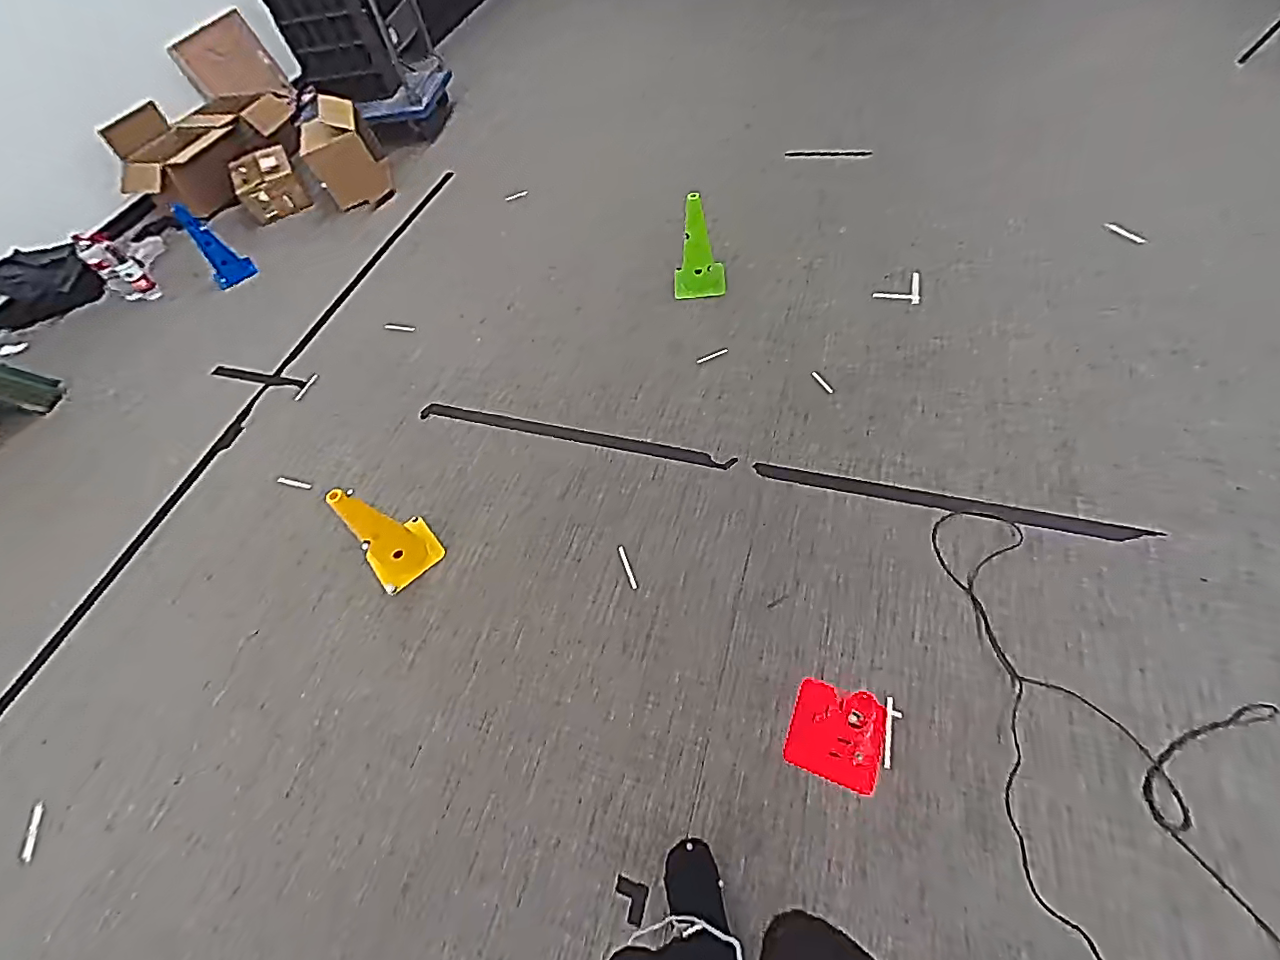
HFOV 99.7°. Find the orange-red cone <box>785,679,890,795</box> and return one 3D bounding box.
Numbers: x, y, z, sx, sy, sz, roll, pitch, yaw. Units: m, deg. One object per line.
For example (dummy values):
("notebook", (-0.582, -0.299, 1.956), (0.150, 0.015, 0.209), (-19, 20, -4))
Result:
("orange-red cone", (0.420, 0.482, 1.088), (0.199, 0.360, 0.198), (17, 61, 22))

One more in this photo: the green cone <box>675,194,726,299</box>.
("green cone", (0.219, -0.894, 2.046), (0.202, 0.368, 0.200), (-3, 57, 8))
